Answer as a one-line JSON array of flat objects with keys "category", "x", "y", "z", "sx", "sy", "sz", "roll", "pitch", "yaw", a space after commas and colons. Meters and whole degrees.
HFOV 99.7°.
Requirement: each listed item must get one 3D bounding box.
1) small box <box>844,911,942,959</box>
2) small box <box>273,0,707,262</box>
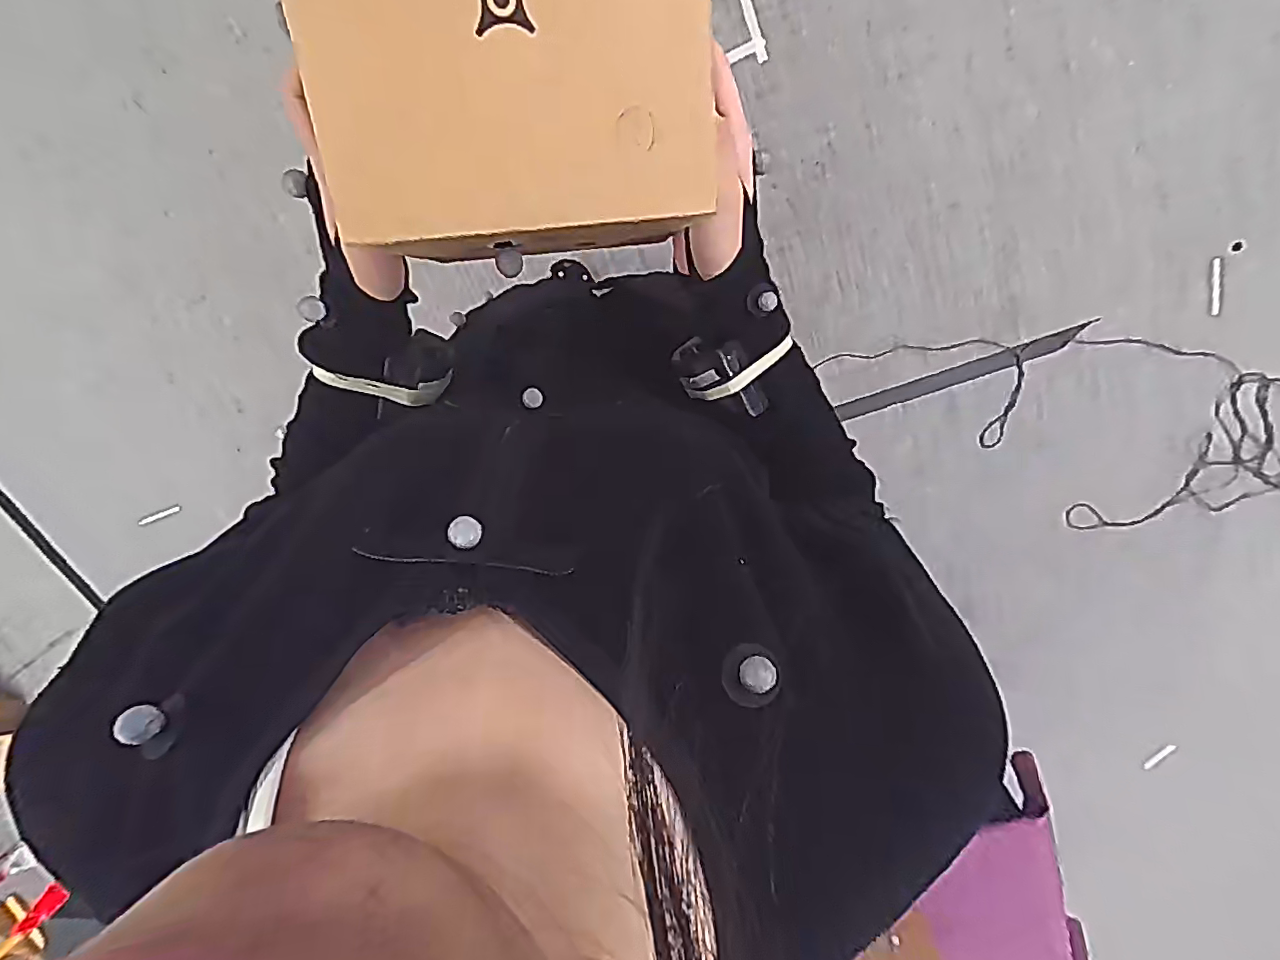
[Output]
[{"category": "small box", "x": 0.526, "y": 1.008, "z": 1.077, "sx": 0.168, "sy": 0.176, "sz": 0.179, "roll": -17, "pitch": 111, "yaw": 9}, {"category": "small box", "x": -0.062, "y": -0.213, "z": 0.282, "sx": 0.168, "sy": 0.176, "sz": 0.179, "roll": -6, "pitch": 109, "yaw": -3}]
